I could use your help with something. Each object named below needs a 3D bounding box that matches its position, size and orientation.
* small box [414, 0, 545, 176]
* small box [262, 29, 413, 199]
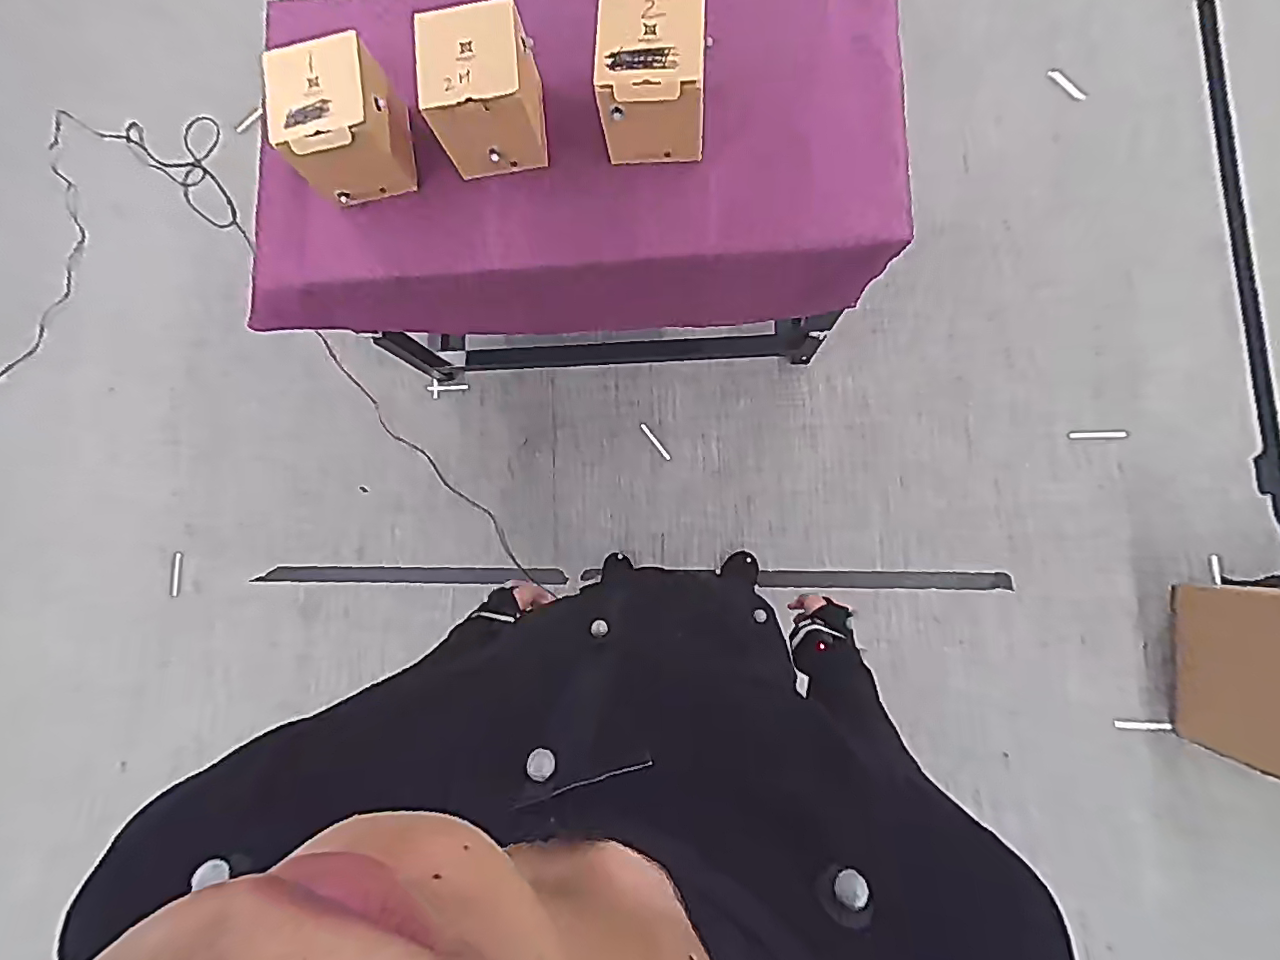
[{"bbox_3d":[-0.269,-0.668,0.933,0.168,0.176,0.179,-6,84,5],"label":"small box"},{"bbox_3d":[-0.522,-0.627,0.954,0.168,0.176,0.179,-10,83,4],"label":"small box"}]
